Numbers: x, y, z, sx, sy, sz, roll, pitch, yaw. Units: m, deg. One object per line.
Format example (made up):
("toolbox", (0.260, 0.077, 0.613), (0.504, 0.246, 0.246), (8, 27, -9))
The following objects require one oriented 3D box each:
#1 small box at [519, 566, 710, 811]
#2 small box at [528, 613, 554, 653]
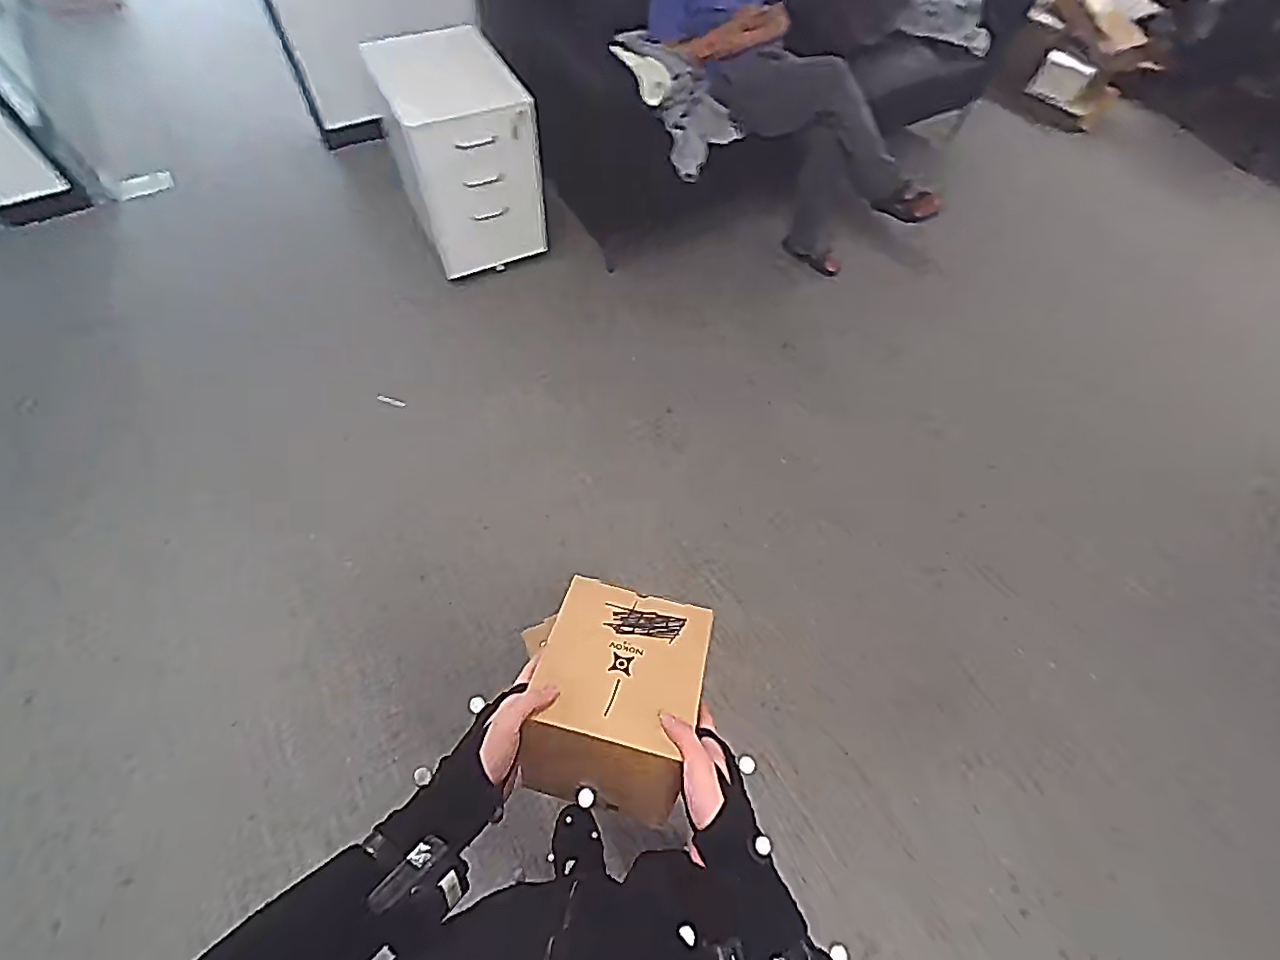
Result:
("small box", (-0.026, 0.232, 0.609), (0.168, 0.176, 0.179), (13, 40, 6))
("small box", (-0.179, 0.441, 1.389), (0.168, 0.176, 0.179), (-20, 64, -15))
